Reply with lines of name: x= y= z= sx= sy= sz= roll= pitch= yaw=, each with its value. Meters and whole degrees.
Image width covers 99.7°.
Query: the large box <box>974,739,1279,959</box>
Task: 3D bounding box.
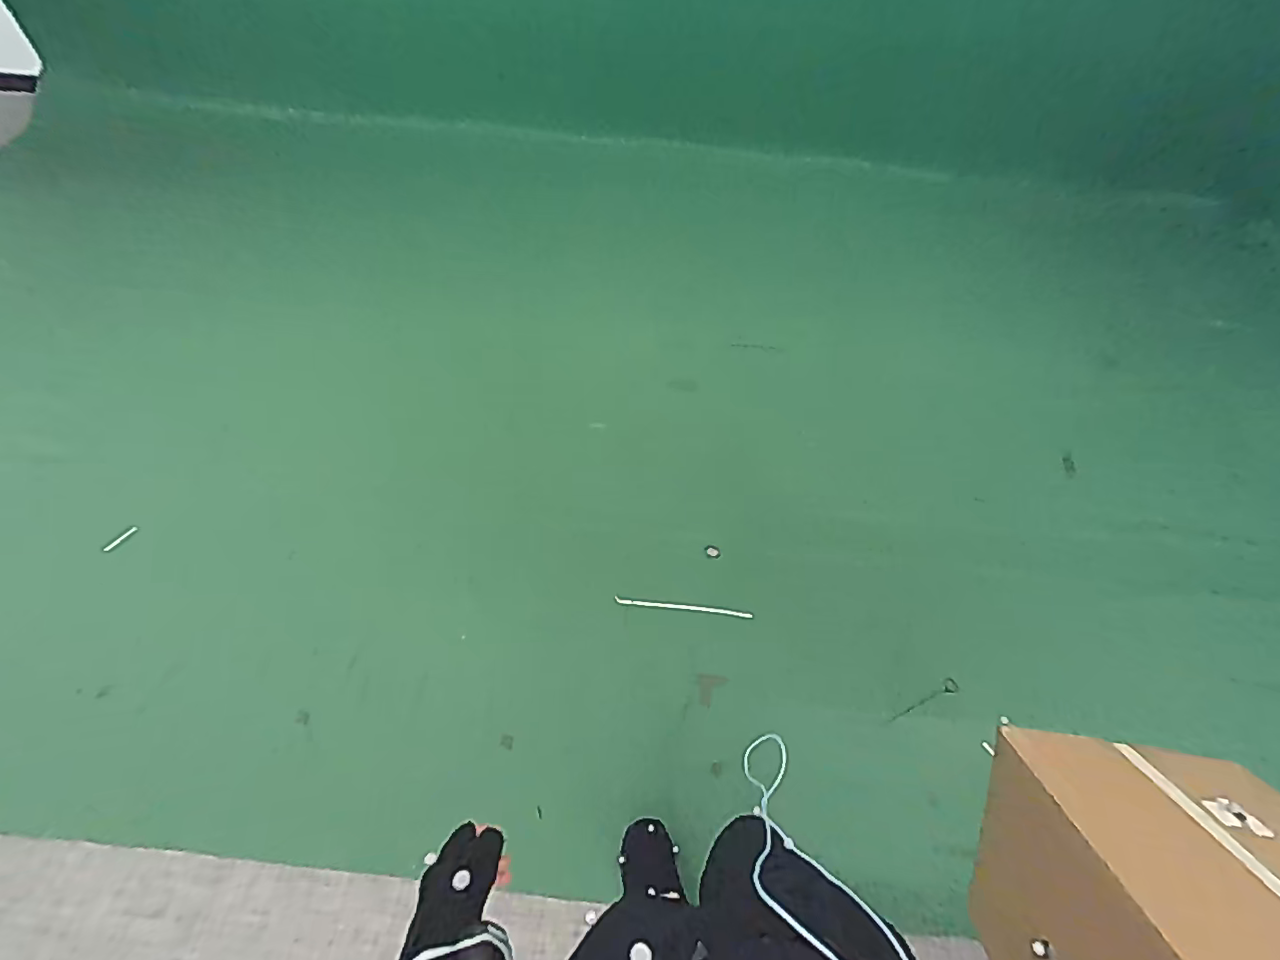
large box: x=0.642 y=0.571 z=0.614 sx=0.320 sy=0.408 sz=0.320 roll=6 pitch=97 yaw=10
